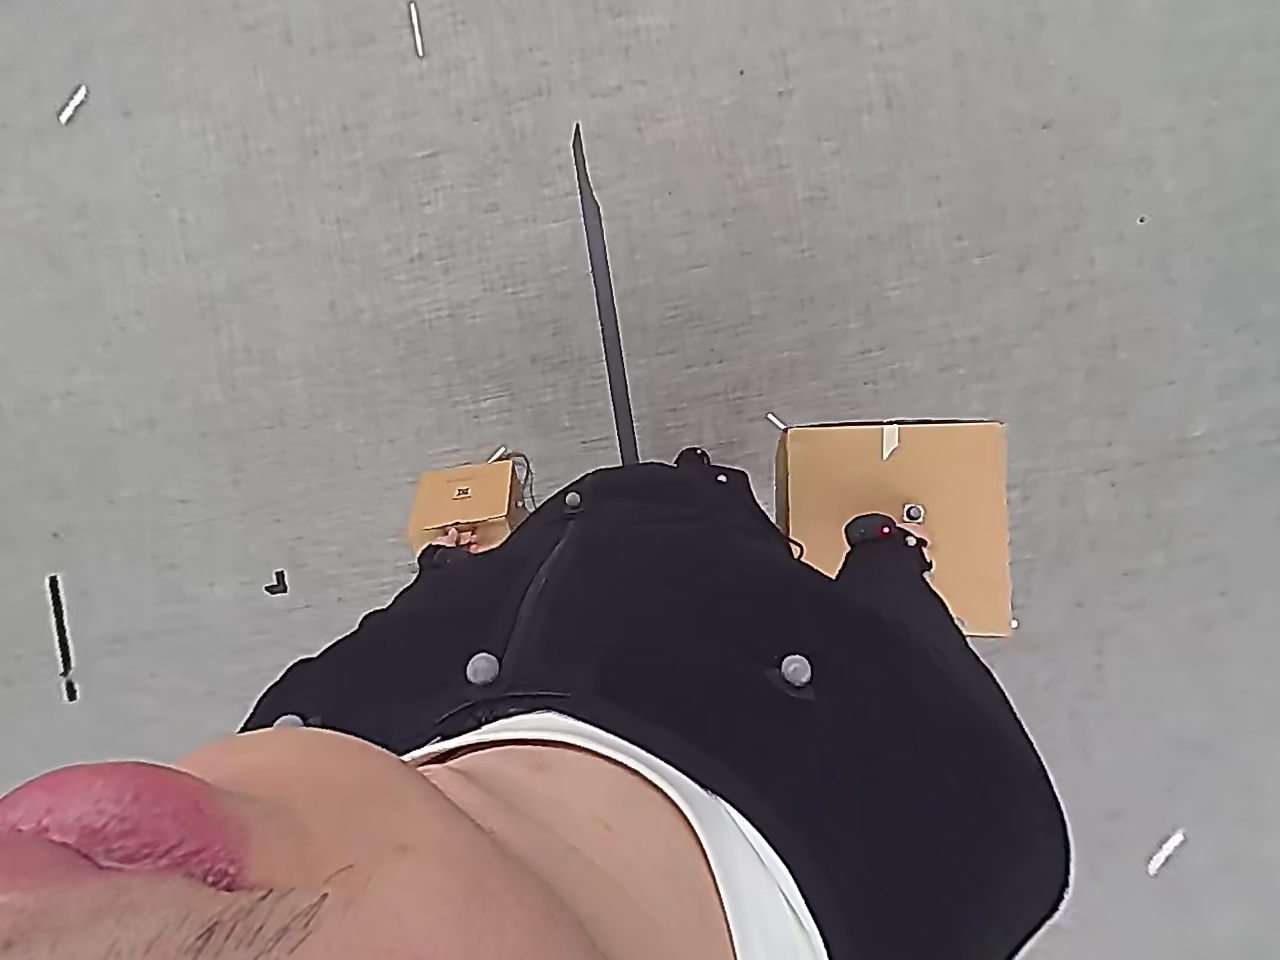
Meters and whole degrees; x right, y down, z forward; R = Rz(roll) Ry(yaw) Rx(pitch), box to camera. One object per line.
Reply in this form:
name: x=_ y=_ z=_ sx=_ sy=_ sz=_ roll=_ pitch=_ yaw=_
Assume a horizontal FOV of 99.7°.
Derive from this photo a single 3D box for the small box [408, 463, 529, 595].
small box: x=-0.303 y=0.094 z=0.995 sx=0.168 sy=0.179 sz=0.176 roll=-9 pitch=124 yaw=-4
